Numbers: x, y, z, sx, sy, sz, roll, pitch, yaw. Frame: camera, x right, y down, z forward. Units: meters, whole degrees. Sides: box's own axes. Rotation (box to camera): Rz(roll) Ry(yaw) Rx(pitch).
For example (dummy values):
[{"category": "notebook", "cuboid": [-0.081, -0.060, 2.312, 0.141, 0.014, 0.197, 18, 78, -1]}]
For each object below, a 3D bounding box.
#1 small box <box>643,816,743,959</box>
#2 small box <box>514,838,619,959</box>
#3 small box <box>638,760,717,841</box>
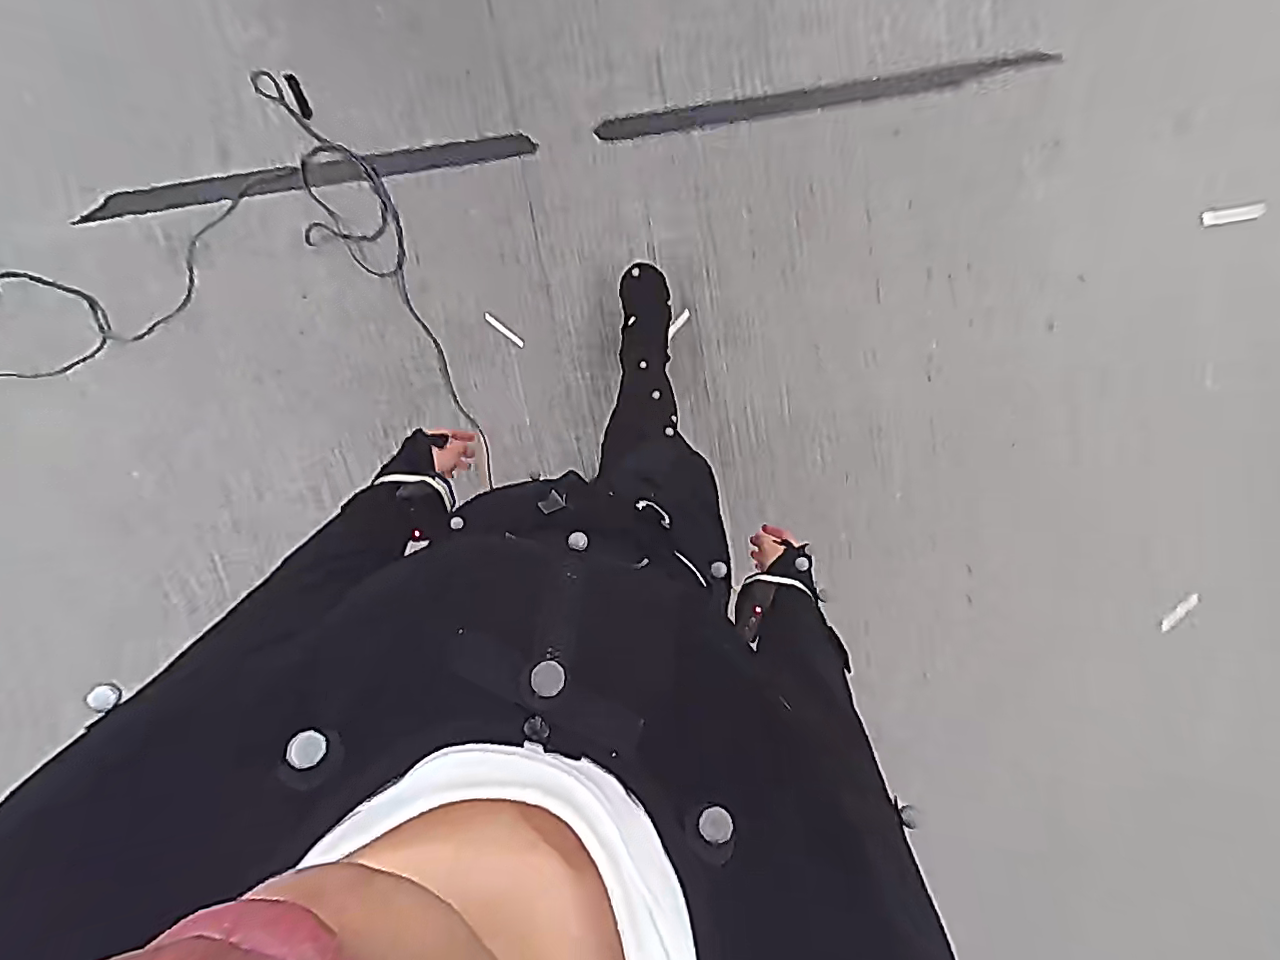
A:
[{"category": "small box", "cuboid": [0.099, 0.812, 1.071, 0.168, 0.176, 0.179, -9, 101, -1]}, {"category": "small box", "cuboid": [-0.137, 0.845, 1.068, 0.179, 0.176, 0.168, -7, 101, -1]}, {"category": "small box", "cuboid": [0.088, 0.779, 1.231, 0.168, 0.176, 0.179, -8, 101, -1]}]
